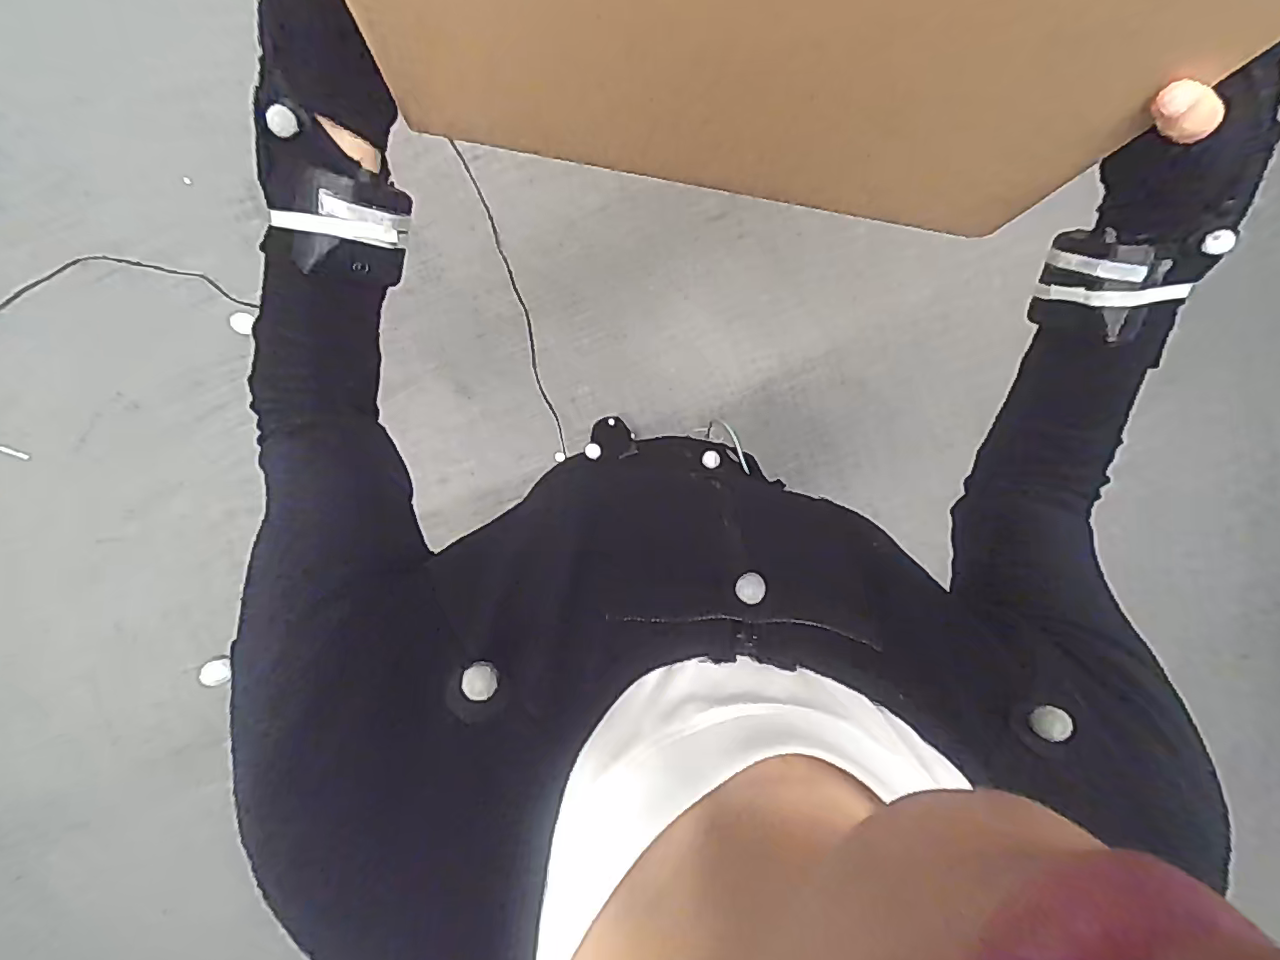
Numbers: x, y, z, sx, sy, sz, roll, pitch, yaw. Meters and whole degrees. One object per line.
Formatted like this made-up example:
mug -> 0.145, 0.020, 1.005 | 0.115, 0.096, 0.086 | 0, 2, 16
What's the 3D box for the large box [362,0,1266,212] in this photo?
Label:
large box -> 0.078, -0.365, 0.228 | 0.408, 0.320, 0.320 | 8, 88, -6
